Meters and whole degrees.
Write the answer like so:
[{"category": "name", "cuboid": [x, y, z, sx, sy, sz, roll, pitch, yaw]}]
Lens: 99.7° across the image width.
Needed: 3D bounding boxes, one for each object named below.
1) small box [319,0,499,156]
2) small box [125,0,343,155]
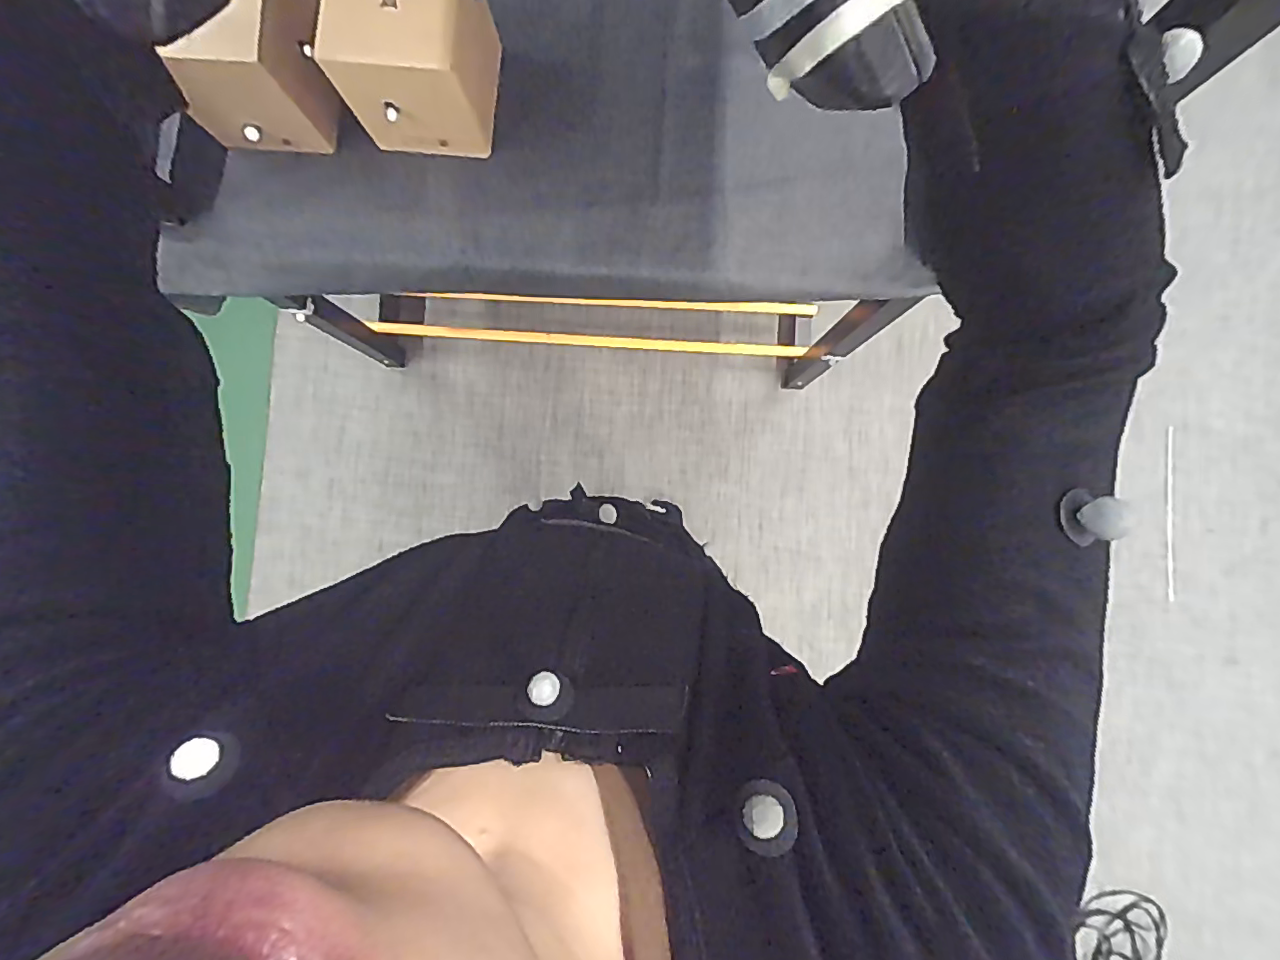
[{"category": "small box", "cuboid": [-0.296, -0.573, 0.729, 0.168, 0.176, 0.179, 4, 86, 0]}, {"category": "small box", "cuboid": [-0.524, -0.578, 0.726, 0.168, 0.176, 0.179, 3, 87, 0]}]
